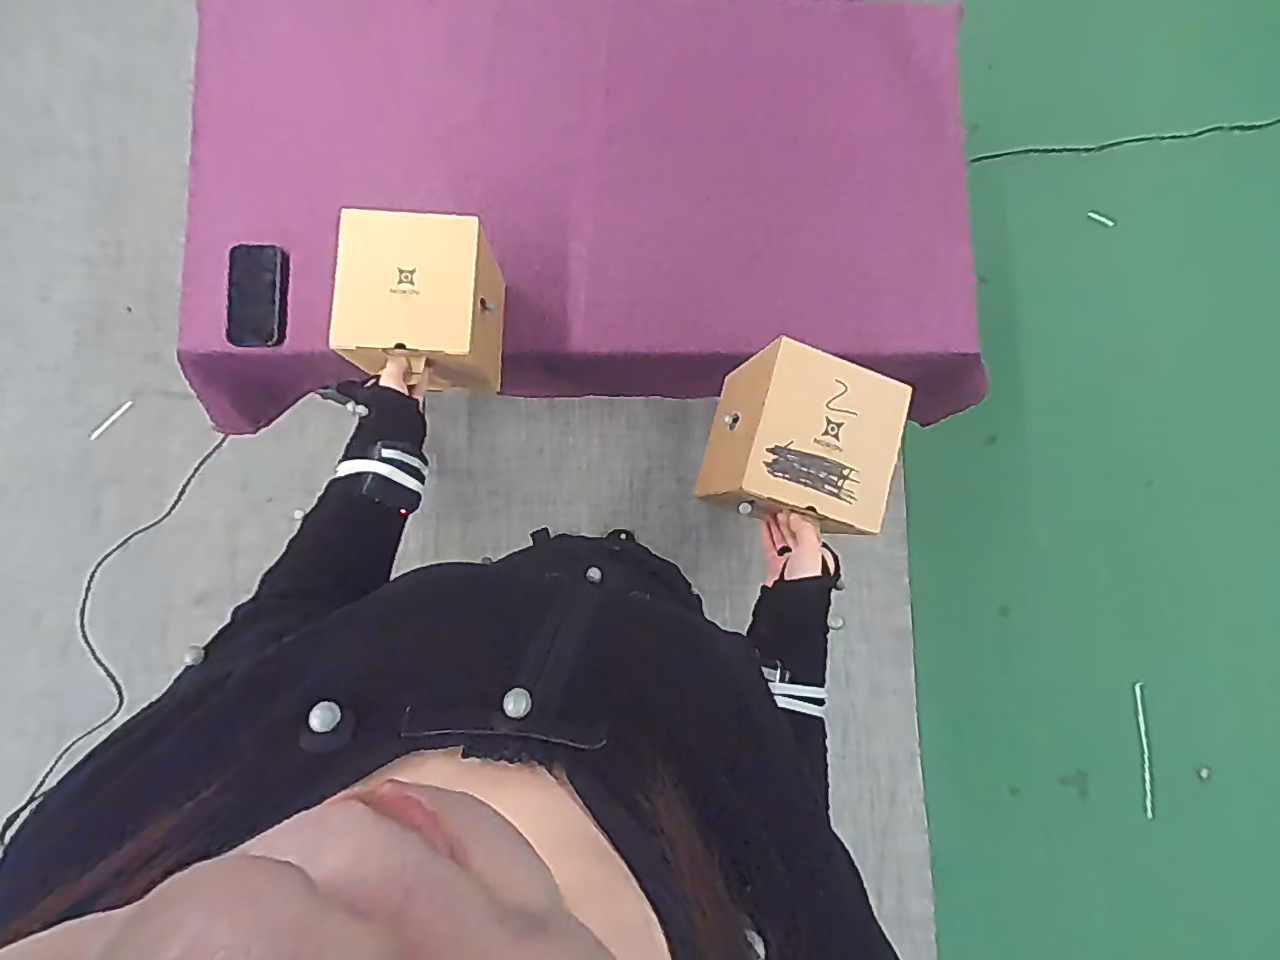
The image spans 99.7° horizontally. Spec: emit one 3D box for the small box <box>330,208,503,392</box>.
[{"bbox_3d":[-0.283,-0.229,0.725,0.168,0.176,0.179,3,84,-4],"label":"small box"}]
